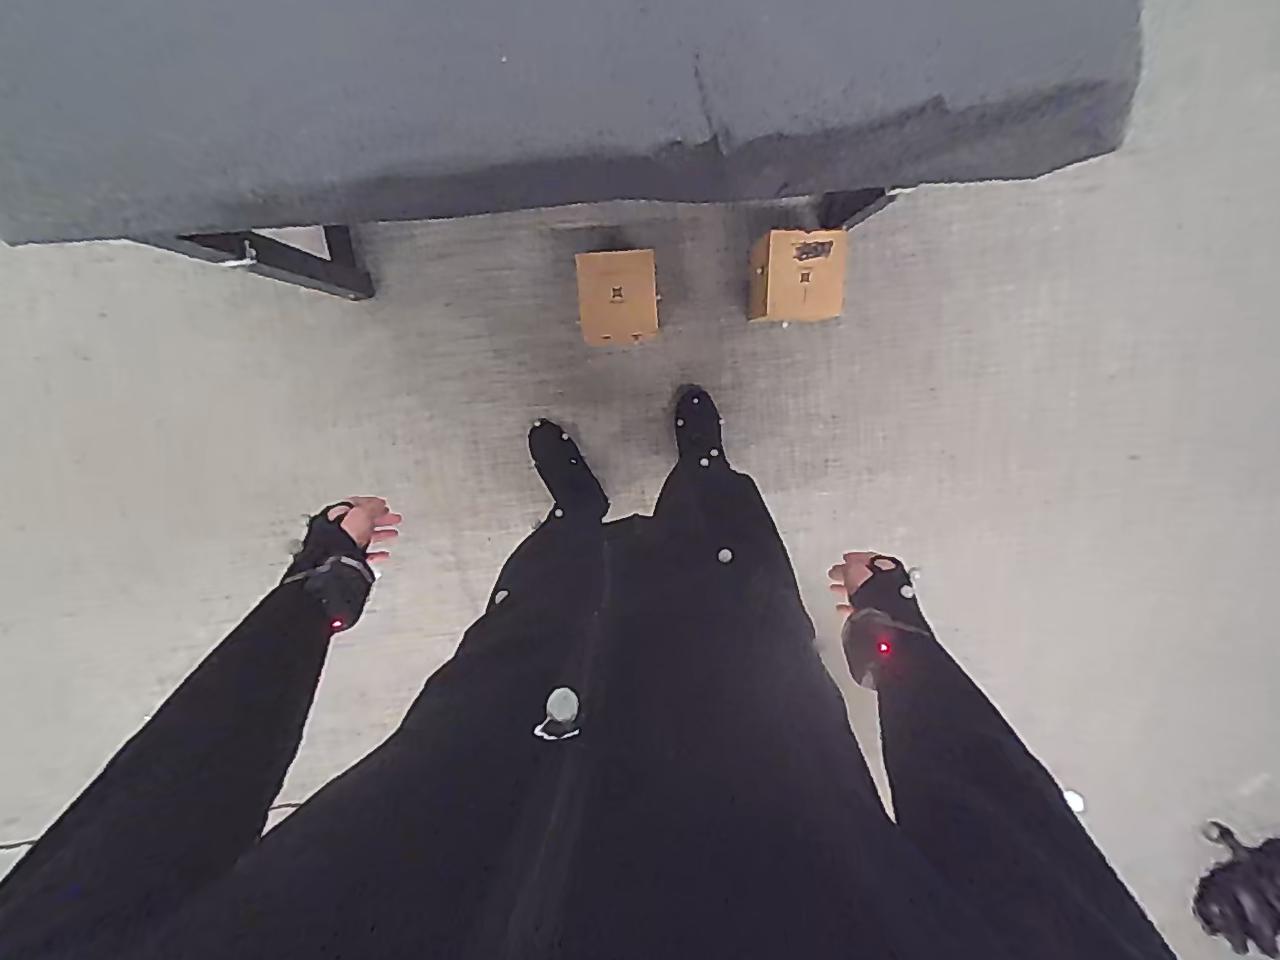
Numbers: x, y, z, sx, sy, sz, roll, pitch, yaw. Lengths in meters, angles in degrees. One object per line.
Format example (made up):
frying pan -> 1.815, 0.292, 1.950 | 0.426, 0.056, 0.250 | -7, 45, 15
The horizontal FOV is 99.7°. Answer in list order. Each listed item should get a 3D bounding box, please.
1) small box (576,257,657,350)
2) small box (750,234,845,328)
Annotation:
small box -> -0.051, -0.392, 1.229 | 0.168, 0.176, 0.179 | -6, 99, -2
small box -> 0.348, -0.443, 1.226 | 0.168, 0.176, 0.179 | -2, 101, -1
